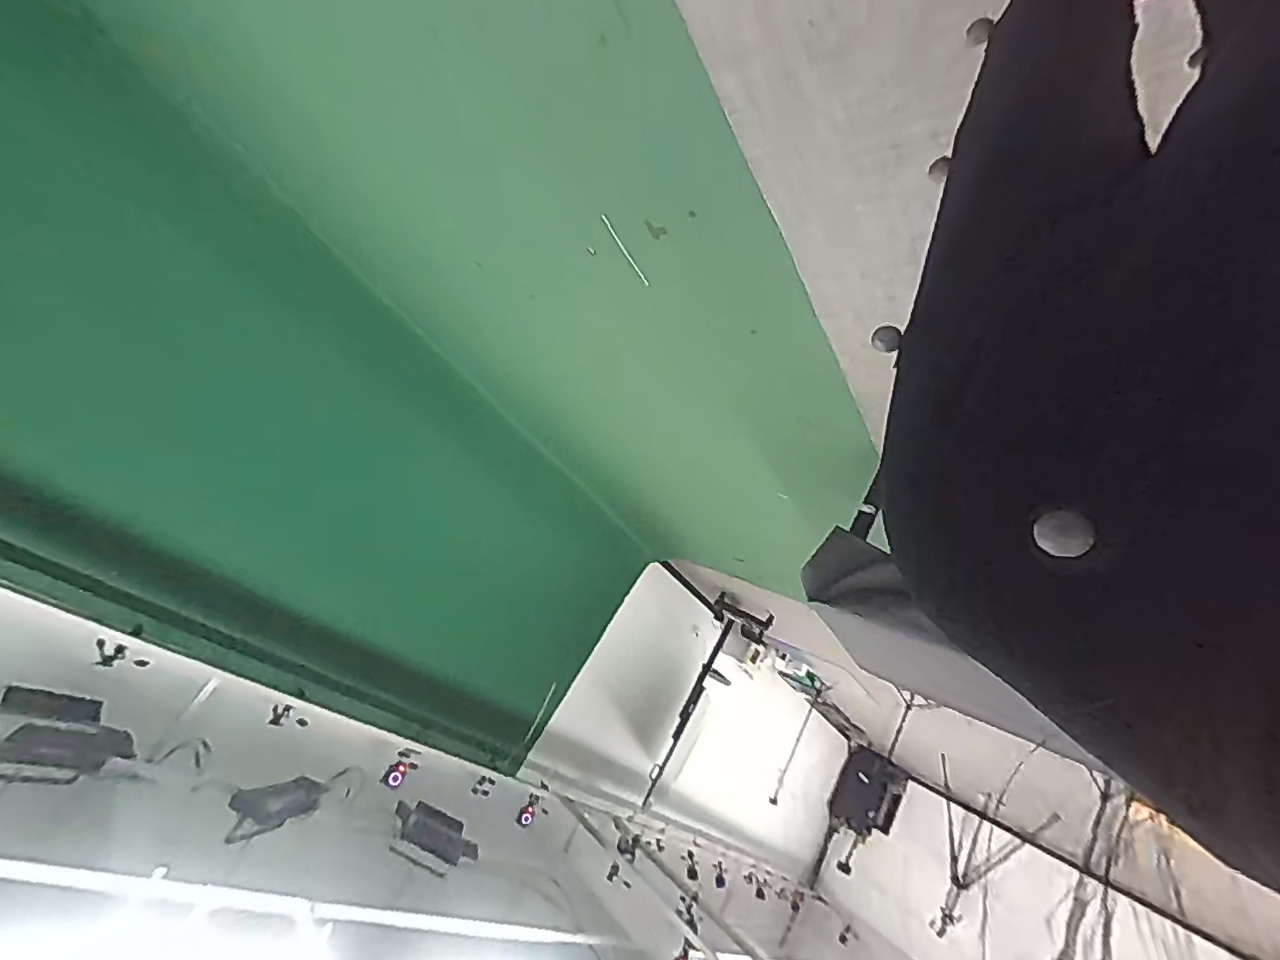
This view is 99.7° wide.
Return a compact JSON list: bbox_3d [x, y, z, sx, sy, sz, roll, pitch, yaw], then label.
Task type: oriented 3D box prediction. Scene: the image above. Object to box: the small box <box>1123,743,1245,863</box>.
[{"bbox_3d":[1.247,0.736,1.245,0.168,0.176,0.179,17,157,45],"label":"small box"}]
